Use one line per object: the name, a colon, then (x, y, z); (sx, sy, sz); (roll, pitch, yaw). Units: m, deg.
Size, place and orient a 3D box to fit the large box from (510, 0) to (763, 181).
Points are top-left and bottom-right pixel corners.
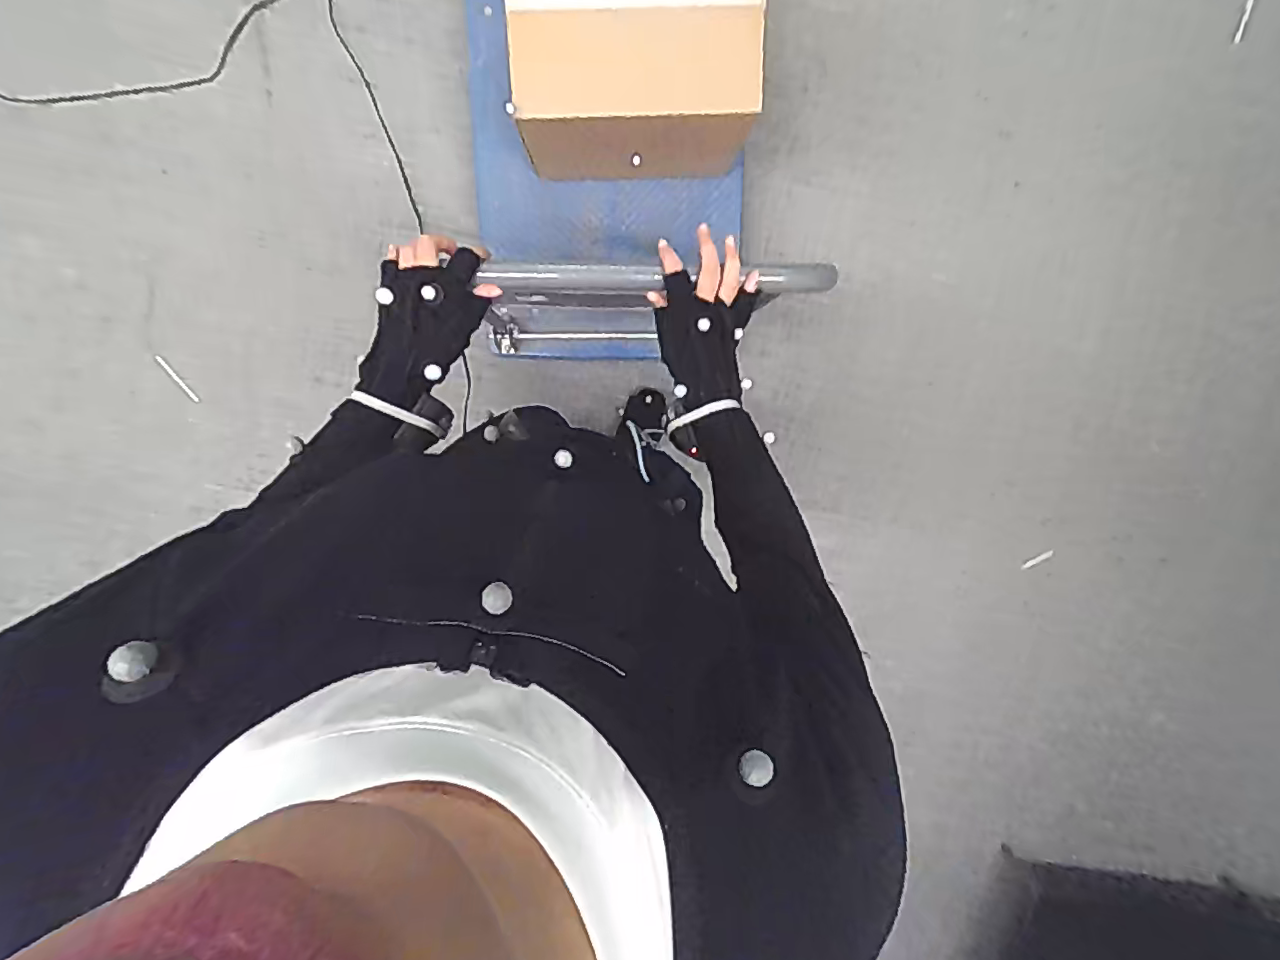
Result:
large box: (-0.007, -0.772, 0.995); (0.408, 0.320, 0.320); (-3, 102, -1)
